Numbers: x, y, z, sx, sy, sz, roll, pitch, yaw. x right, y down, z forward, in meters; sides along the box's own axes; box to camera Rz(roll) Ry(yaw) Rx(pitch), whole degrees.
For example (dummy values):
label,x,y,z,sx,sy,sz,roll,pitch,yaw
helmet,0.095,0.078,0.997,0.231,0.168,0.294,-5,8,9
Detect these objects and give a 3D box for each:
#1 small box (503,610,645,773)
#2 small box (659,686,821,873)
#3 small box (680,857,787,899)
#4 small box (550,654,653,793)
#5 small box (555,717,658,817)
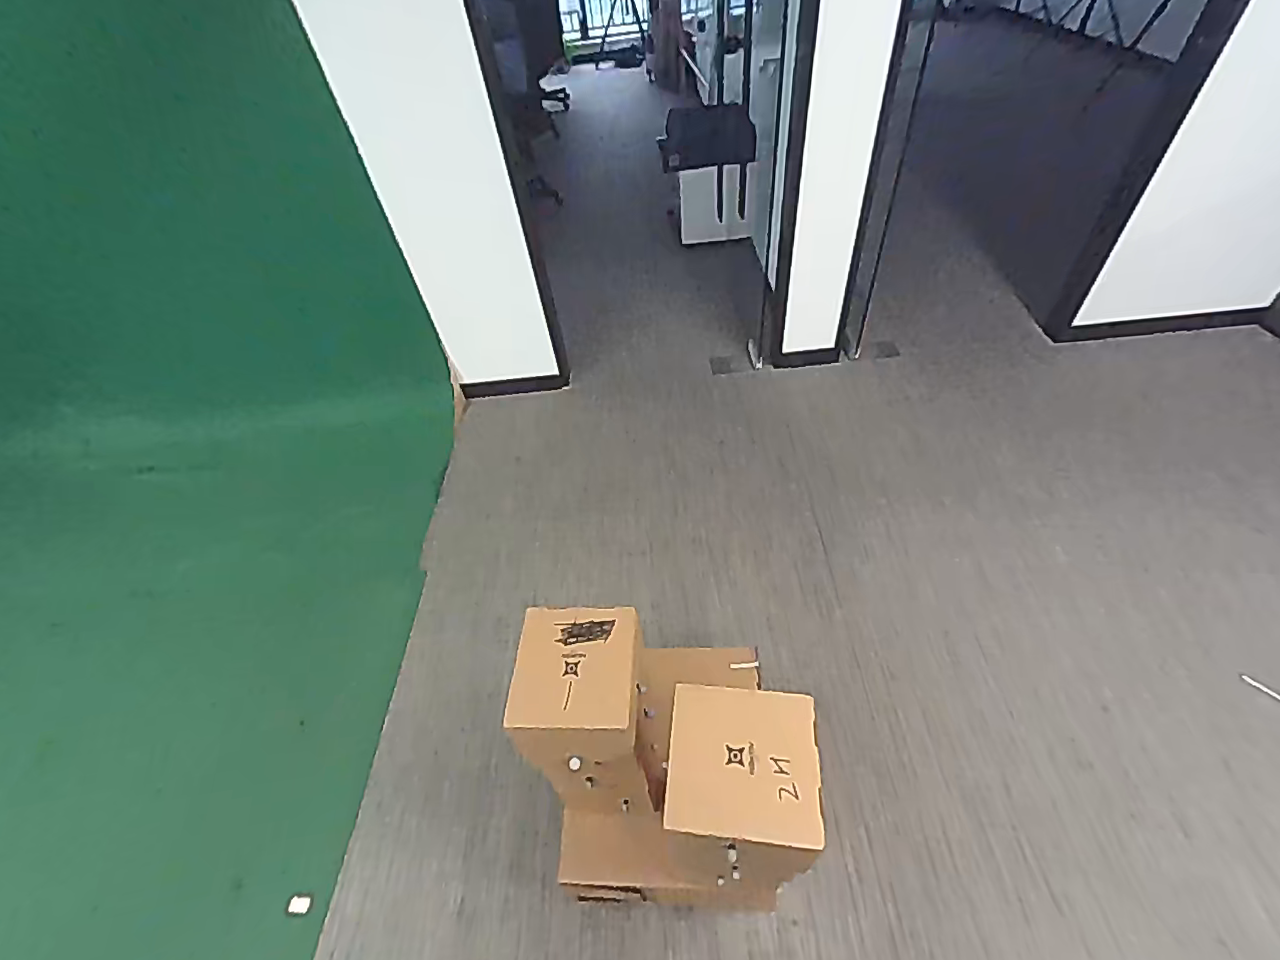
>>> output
label,x,y,z,sx,sy,sz,roll,pitch,yaw
small box,-0.084,0.312,0.801,0.168,0.176,0.179,-2,47,6
small box,0.126,0.383,0.691,0.179,0.176,0.168,2,47,10
small box,0.157,0.600,0.940,0.168,0.176,0.179,-1,45,7
small box,-0.067,0.415,0.926,0.168,0.176,0.179,-2,47,6
small box,-0.055,0.532,1.041,0.168,0.176,0.179,-2,45,6
